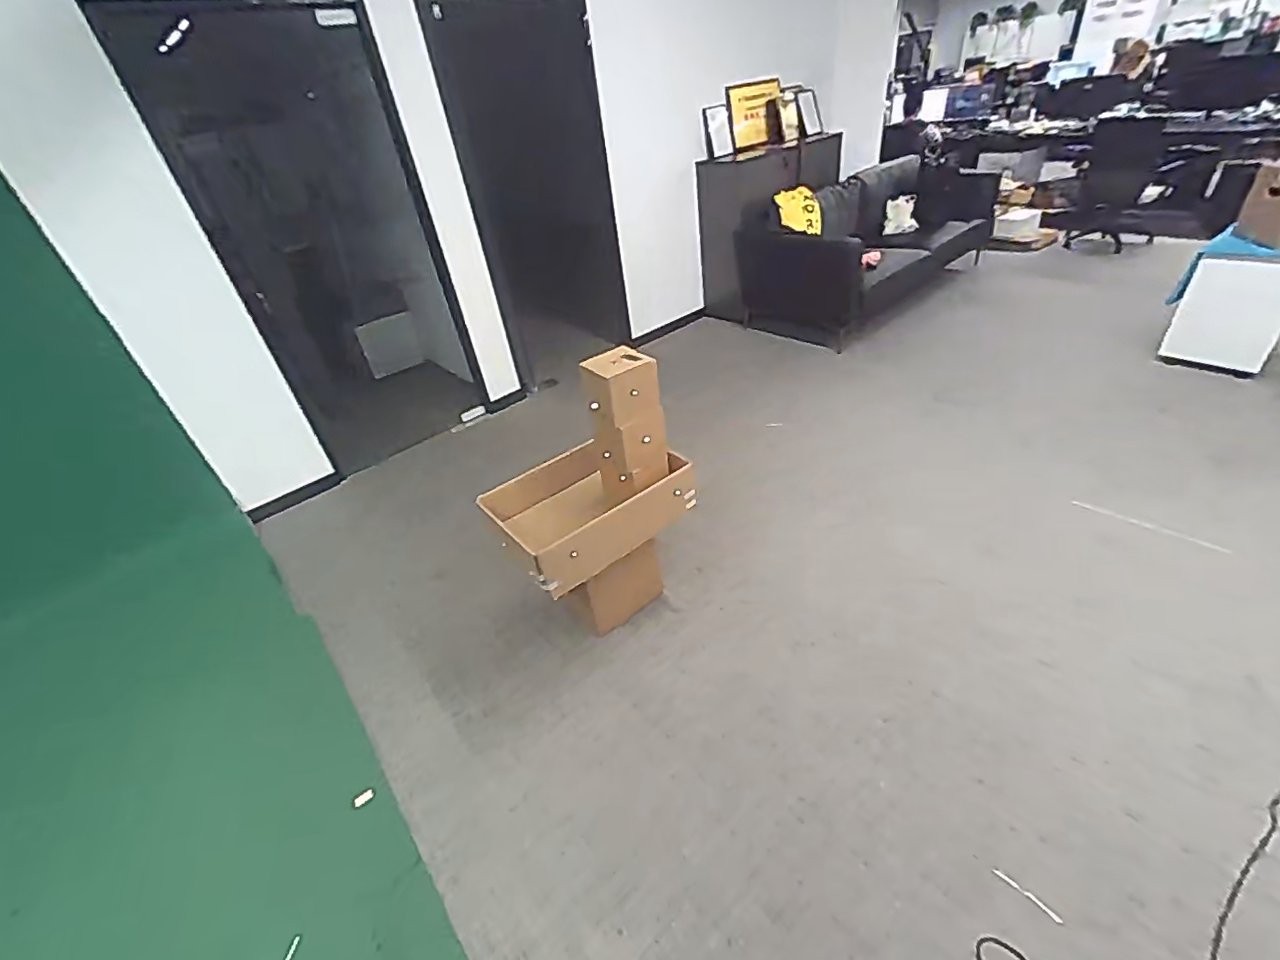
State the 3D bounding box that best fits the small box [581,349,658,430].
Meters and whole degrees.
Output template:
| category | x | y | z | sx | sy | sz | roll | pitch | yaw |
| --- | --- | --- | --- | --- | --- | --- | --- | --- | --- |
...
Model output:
| category | x | y | z | sx | sy | sz | roll | pitch | yaw |
| --- | --- | --- | --- | --- | --- | --- | --- | --- | --- |
| small box | -0.057 | -0.280 | 1.666 | 0.179 | 0.176 | 0.168 | -28 | 40 | -25 |
